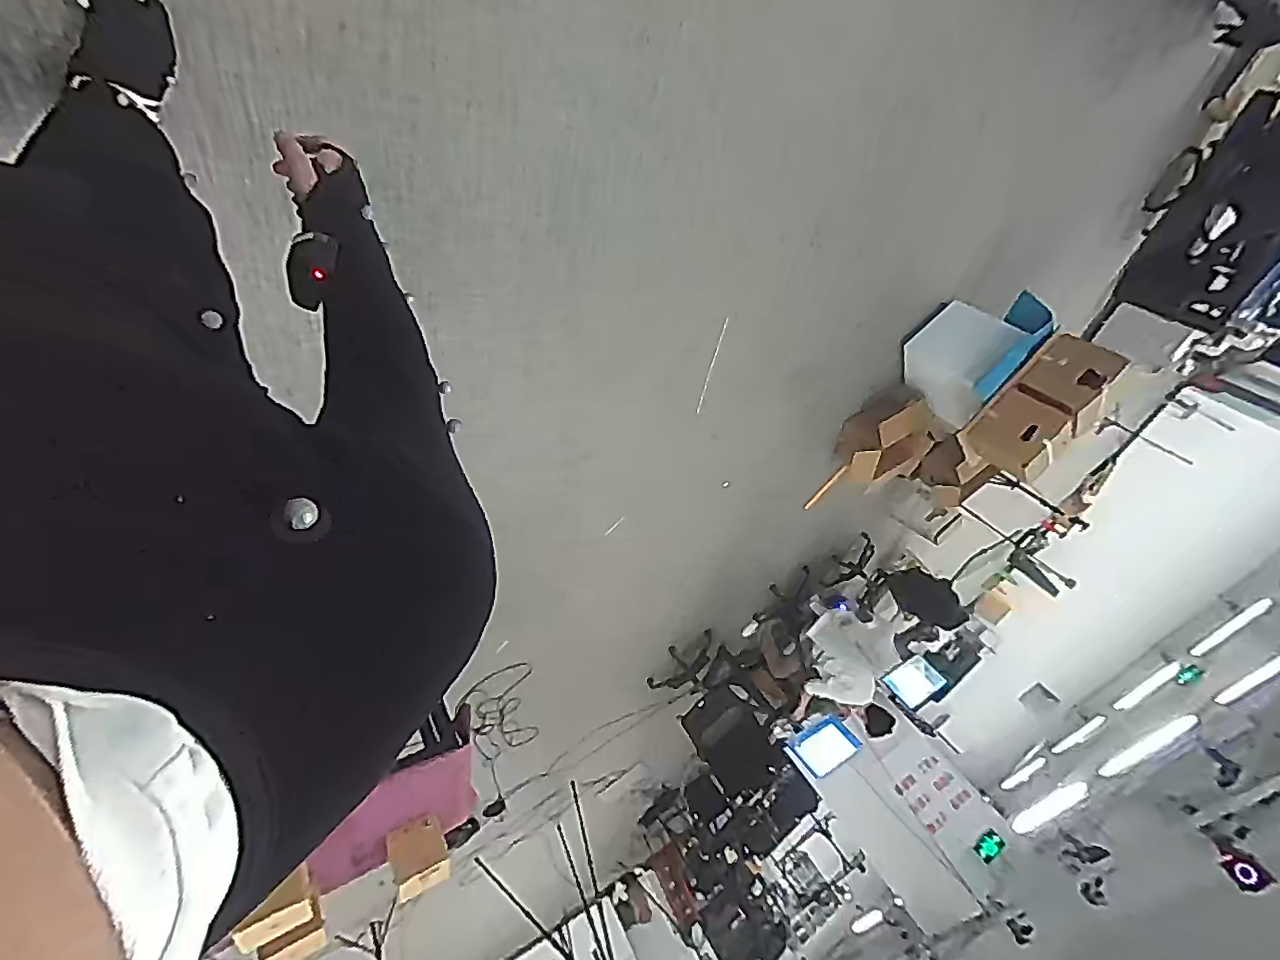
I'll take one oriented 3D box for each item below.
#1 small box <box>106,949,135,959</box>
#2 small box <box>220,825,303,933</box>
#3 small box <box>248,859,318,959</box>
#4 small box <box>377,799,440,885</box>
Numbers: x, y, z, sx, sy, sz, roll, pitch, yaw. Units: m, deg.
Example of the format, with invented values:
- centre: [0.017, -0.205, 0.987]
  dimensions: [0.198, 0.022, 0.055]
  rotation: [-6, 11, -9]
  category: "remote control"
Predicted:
- centre: [-1.475, 1.412, 1.447]
  dimensions: [0.168, 0.176, 0.179]
  rotation: [-13, 137, -35]
  category: "small box"
- centre: [-1.056, 1.108, 1.512]
  dimensions: [0.168, 0.176, 0.179]
  rotation: [-12, 137, -35]
  category: "small box"
- centre: [-1.127, 1.340, 1.701]
  dimensions: [0.168, 0.176, 0.179]
  rotation: [-11, 135, -36]
  category: "small box"
- centre: [-0.817, 1.265, 1.903]
  dimensions: [0.168, 0.176, 0.179]
  rotation: [-12, 135, -34]
  category: "small box"
